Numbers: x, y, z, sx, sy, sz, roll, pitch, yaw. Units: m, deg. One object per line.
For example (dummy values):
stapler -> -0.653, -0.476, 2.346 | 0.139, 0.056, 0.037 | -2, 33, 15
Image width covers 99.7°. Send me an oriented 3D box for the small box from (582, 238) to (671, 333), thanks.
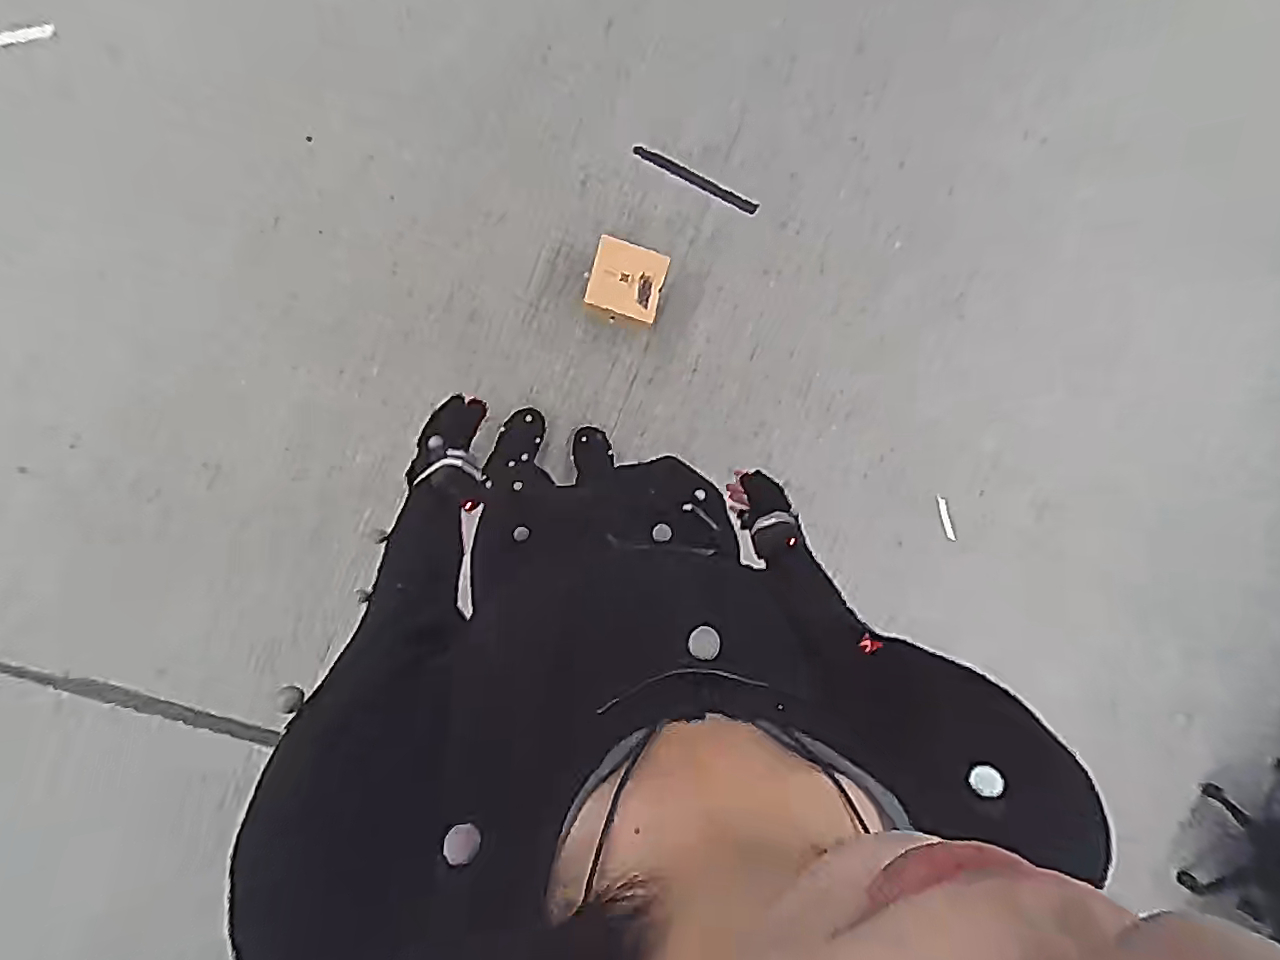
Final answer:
small box -> -0.040, -0.481, 1.369 | 0.179, 0.176, 0.168 | 16, 94, -10
